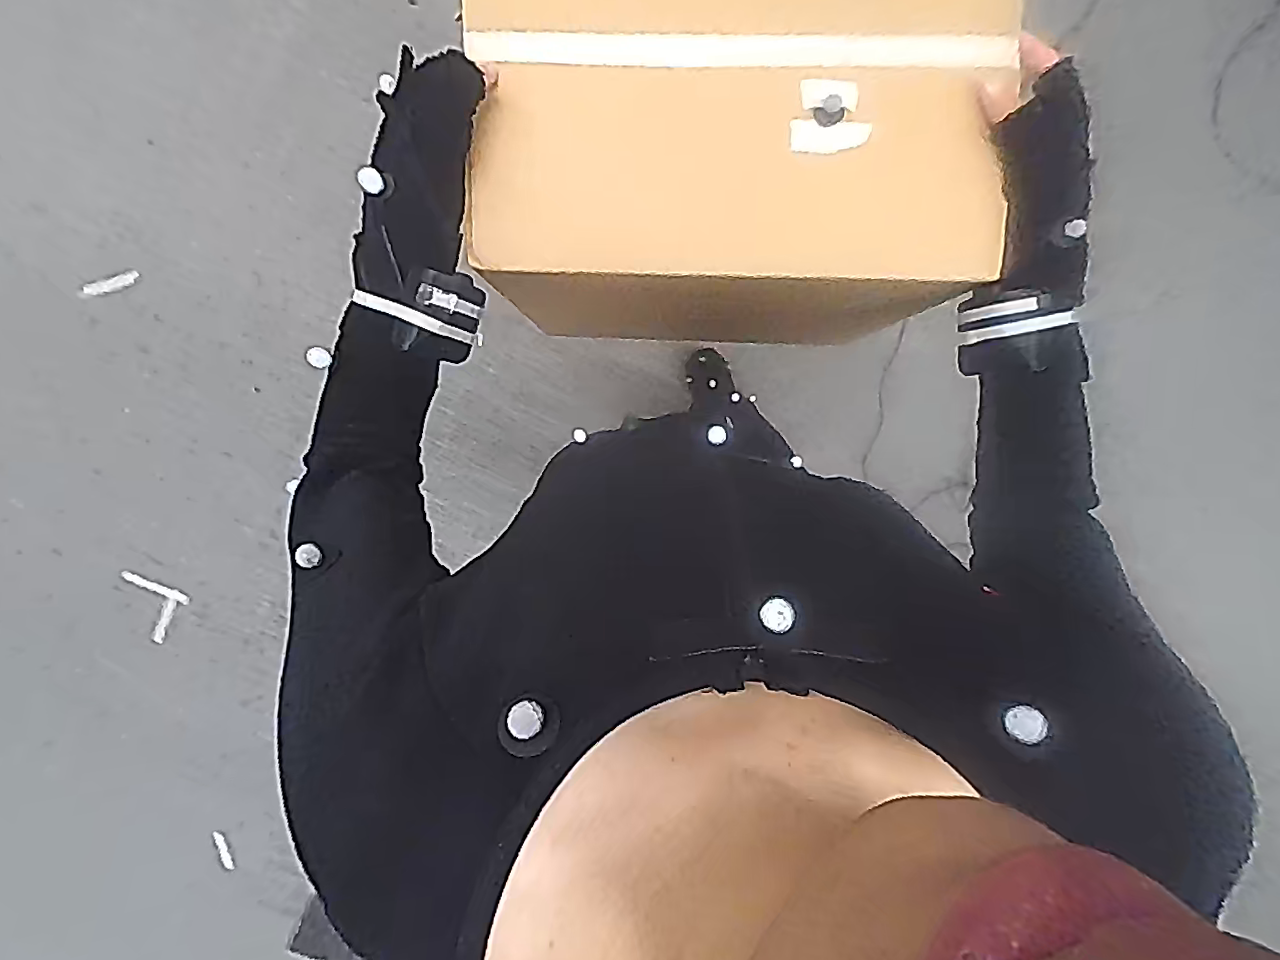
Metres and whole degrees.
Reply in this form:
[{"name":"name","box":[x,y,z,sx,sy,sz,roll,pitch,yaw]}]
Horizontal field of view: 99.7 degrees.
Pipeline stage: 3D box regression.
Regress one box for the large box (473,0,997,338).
[{"name":"large box","box":[0.070,-0.333,0.562,0.408,0.320,0.320,1,95,0]}]
